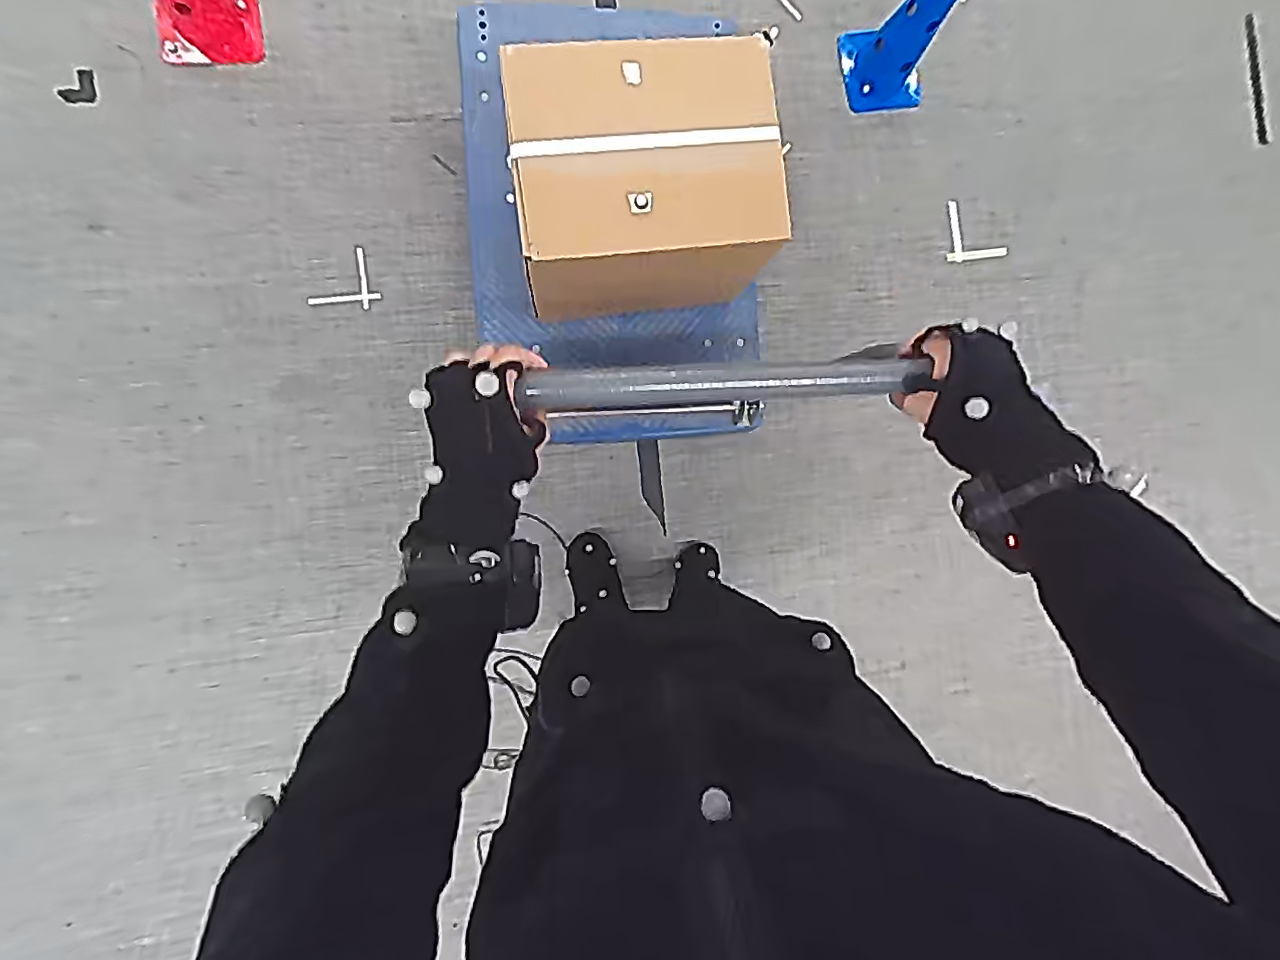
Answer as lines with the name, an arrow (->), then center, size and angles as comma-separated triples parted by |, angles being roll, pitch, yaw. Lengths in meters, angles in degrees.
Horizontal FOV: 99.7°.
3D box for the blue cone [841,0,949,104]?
blue cone -> 0.630, -1.047, 1.200 | 0.193, 0.380, 0.192 | -10, 90, -8
